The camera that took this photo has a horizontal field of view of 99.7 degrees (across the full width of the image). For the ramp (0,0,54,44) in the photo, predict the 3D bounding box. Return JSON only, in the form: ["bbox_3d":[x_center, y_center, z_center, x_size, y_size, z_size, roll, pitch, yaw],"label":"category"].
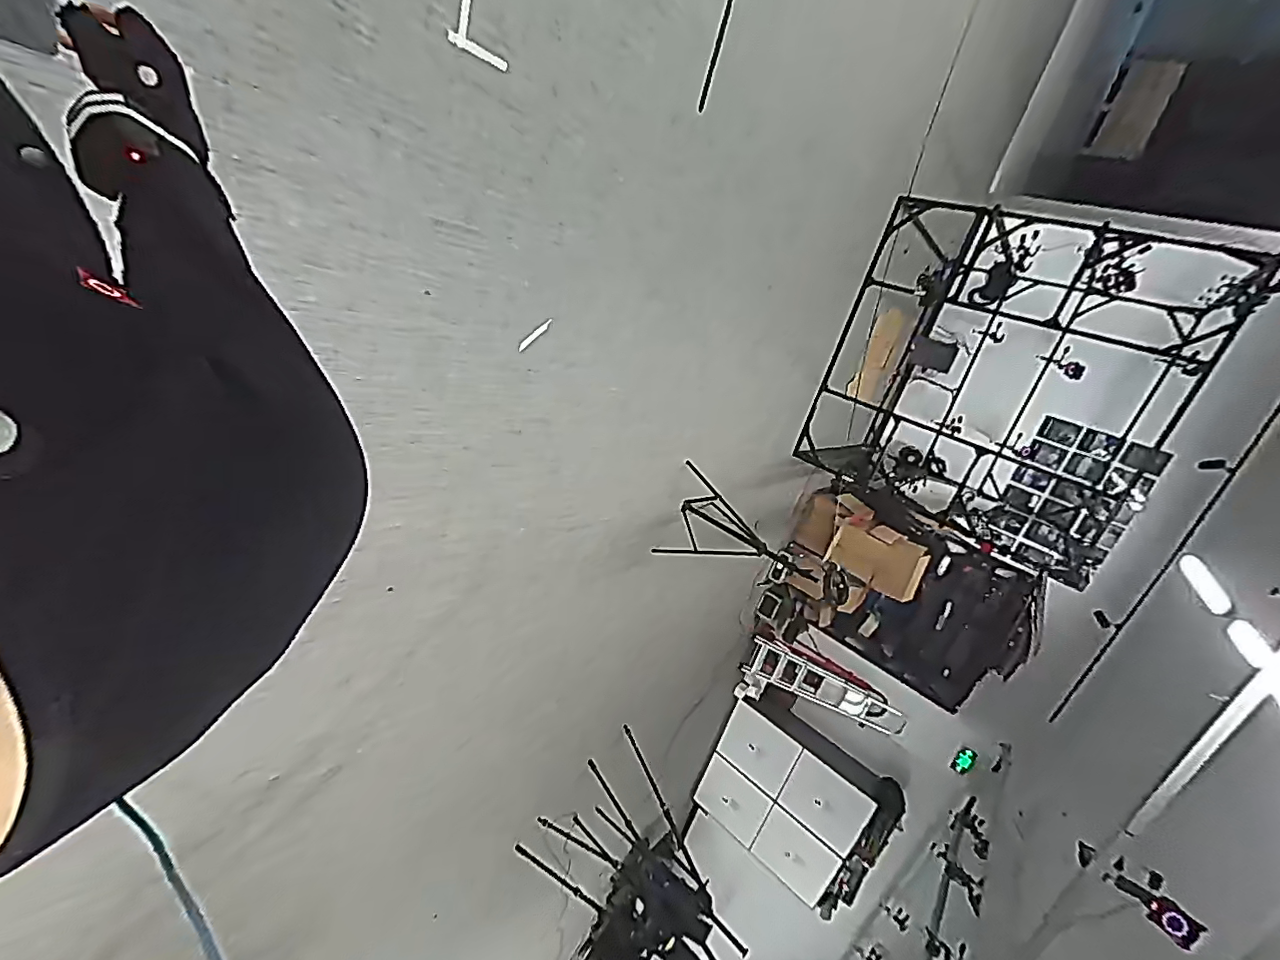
[{"bbox_3d":[-0.911,-1.085,0.491,0.509,0.206,0.991,-13,126,-52],"label":"ramp"}]
